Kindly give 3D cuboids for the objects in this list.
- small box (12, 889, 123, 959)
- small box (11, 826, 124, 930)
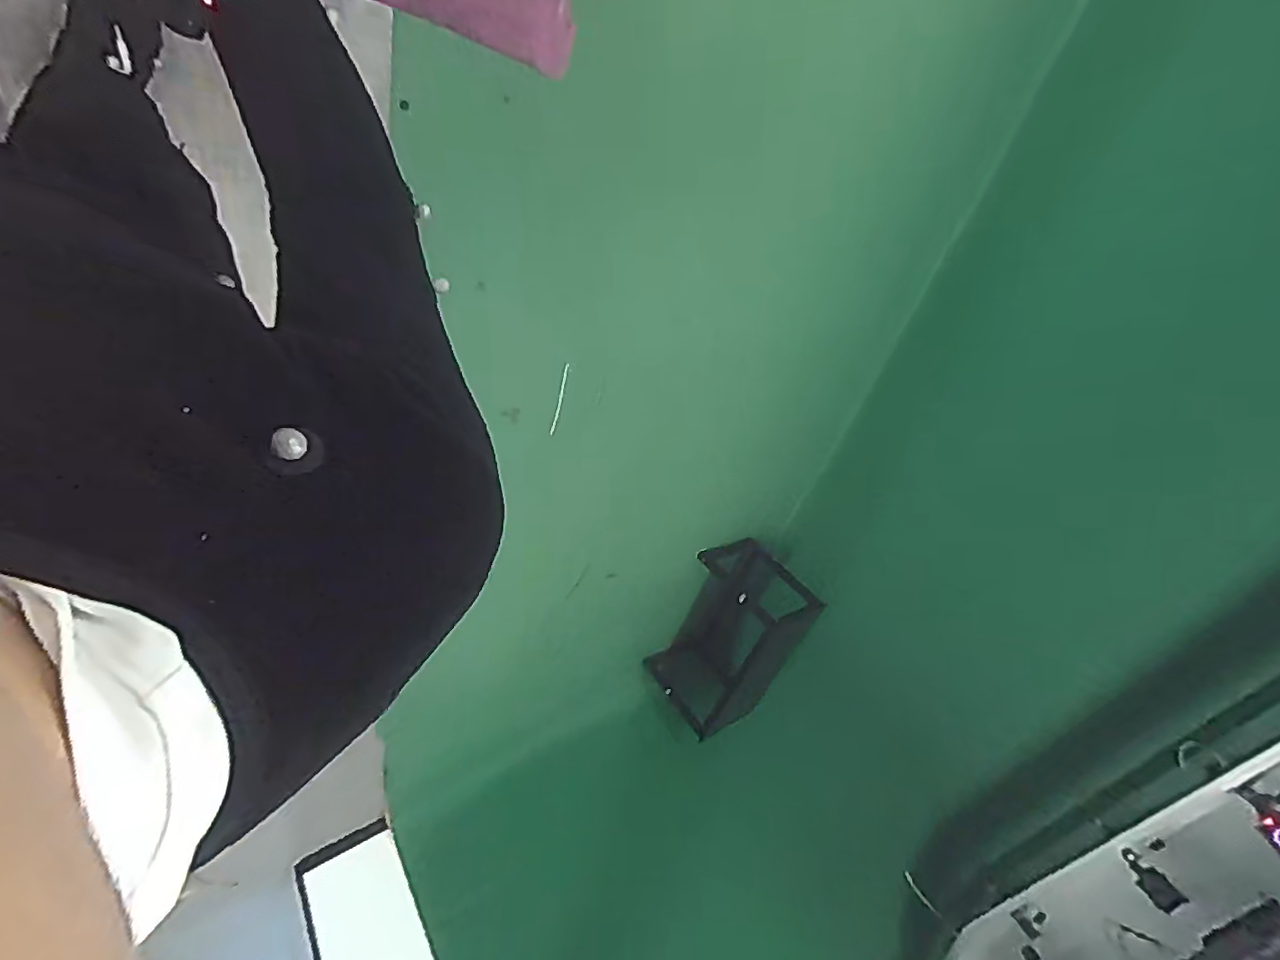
[{"bbox_3d":[-1.443,1.184,1.366,0.168,0.176,0.179,-12,136,-38],"label":"small box"},{"bbox_3d":[-1.534,1.081,1.455,0.179,0.176,0.168,-14,137,-36],"label":"small box"}]
